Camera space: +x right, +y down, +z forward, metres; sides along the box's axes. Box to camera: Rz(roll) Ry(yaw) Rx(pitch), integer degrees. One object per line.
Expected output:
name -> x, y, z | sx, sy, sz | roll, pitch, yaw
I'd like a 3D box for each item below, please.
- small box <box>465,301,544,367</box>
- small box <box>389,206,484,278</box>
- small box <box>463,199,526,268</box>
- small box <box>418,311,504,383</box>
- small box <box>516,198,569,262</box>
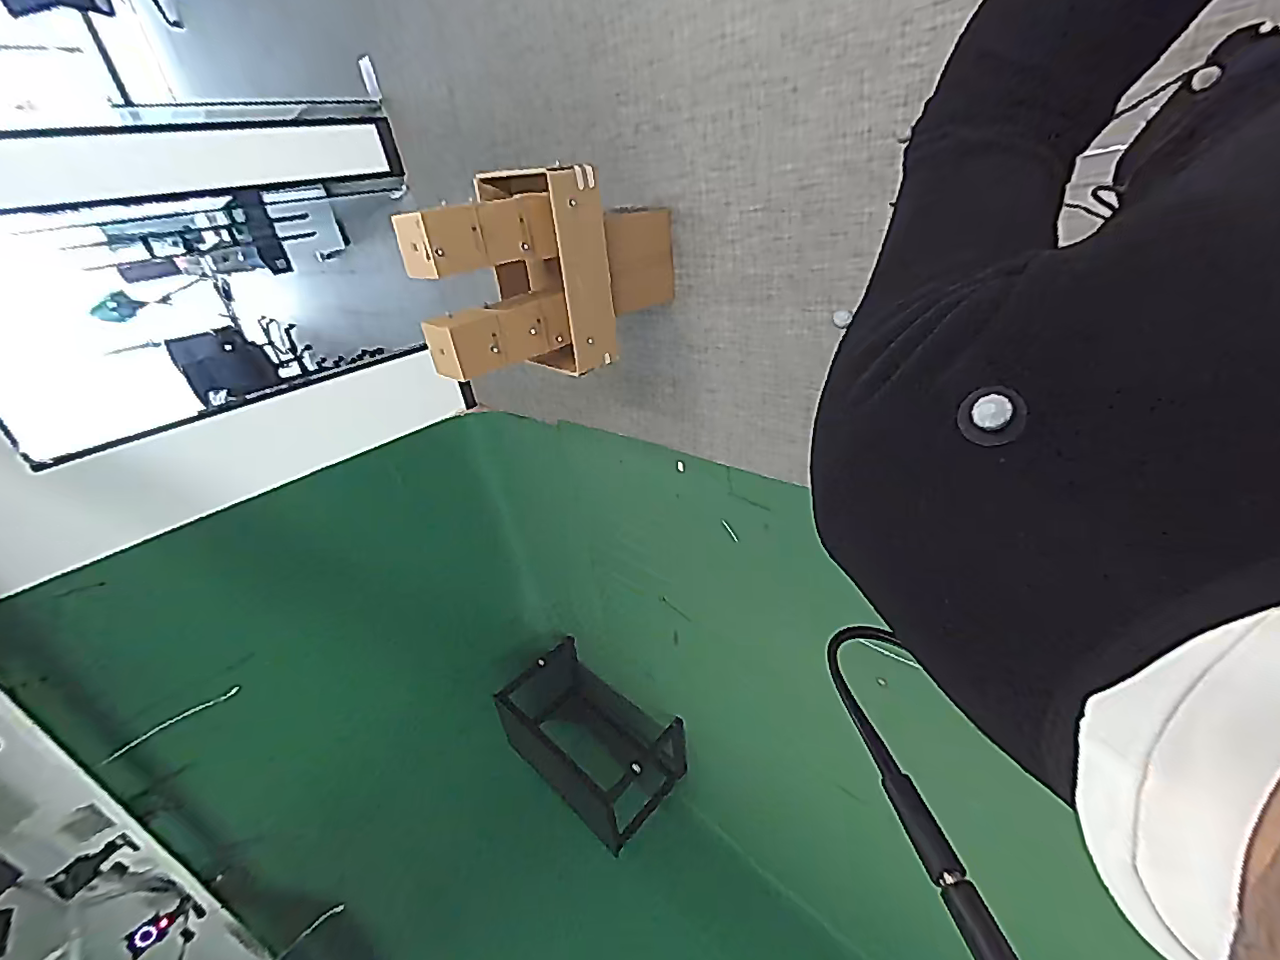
small box -> -0.439, -0.484, 1.768 | 0.179, 0.176, 0.168 | 20, 129, 40
small box -> -0.565, -0.668, 1.516 | 0.179, 0.176, 0.168 | 20, 128, 40
small box -> -0.457, -0.738, 1.618 | 0.179, 0.176, 0.168 | 20, 128, 40
small box -> -0.549, -0.416, 1.669 | 0.179, 0.176, 0.168 | 21, 130, 39
small box -> -0.349, -0.801, 1.725 | 0.179, 0.176, 0.168 | 24, 130, 36
